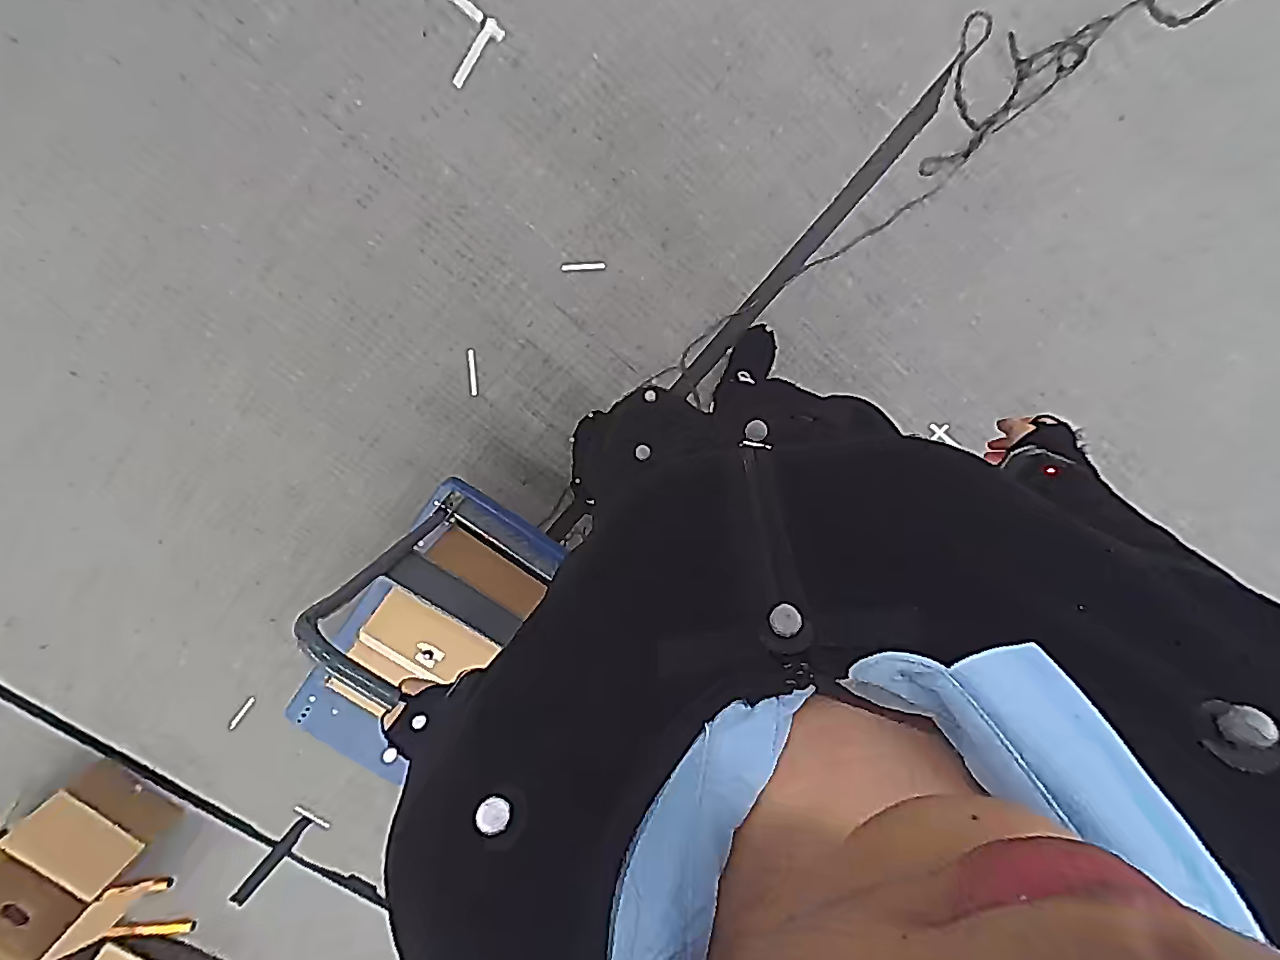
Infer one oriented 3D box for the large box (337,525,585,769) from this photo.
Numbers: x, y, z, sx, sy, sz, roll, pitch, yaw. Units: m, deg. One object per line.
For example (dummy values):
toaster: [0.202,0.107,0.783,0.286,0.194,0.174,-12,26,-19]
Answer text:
large box: [-0.391,0.376,1.281,0.408,0.320,0.320,36,102,-8]
